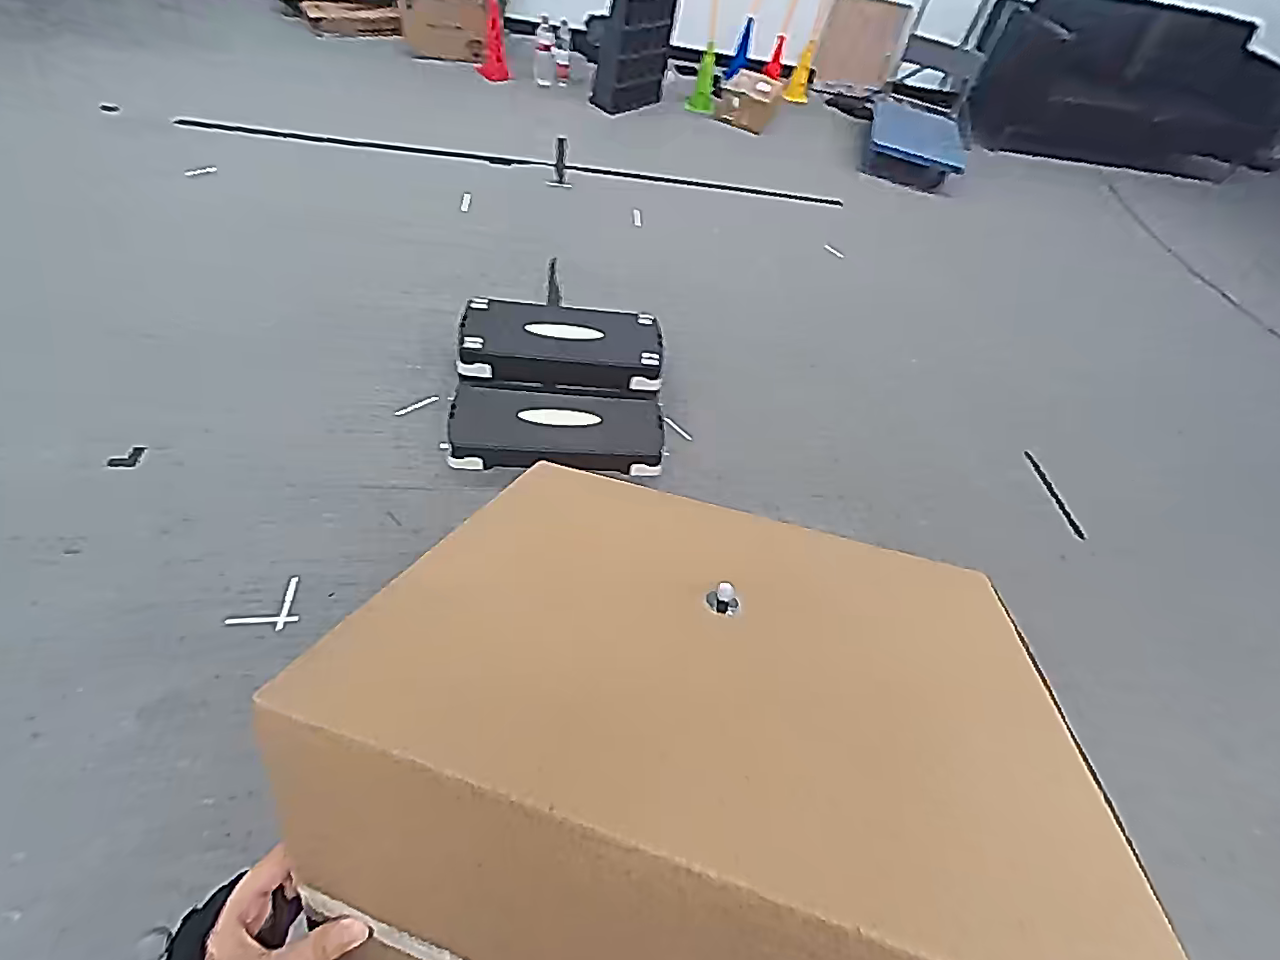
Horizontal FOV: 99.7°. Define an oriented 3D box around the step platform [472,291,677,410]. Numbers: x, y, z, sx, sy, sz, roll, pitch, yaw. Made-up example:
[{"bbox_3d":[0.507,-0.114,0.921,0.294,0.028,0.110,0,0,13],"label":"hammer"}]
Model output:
[{"bbox_3d":[-0.214,-0.443,1.853,0.684,0.204,0.286,8,53,-7],"label":"step platform"}]
